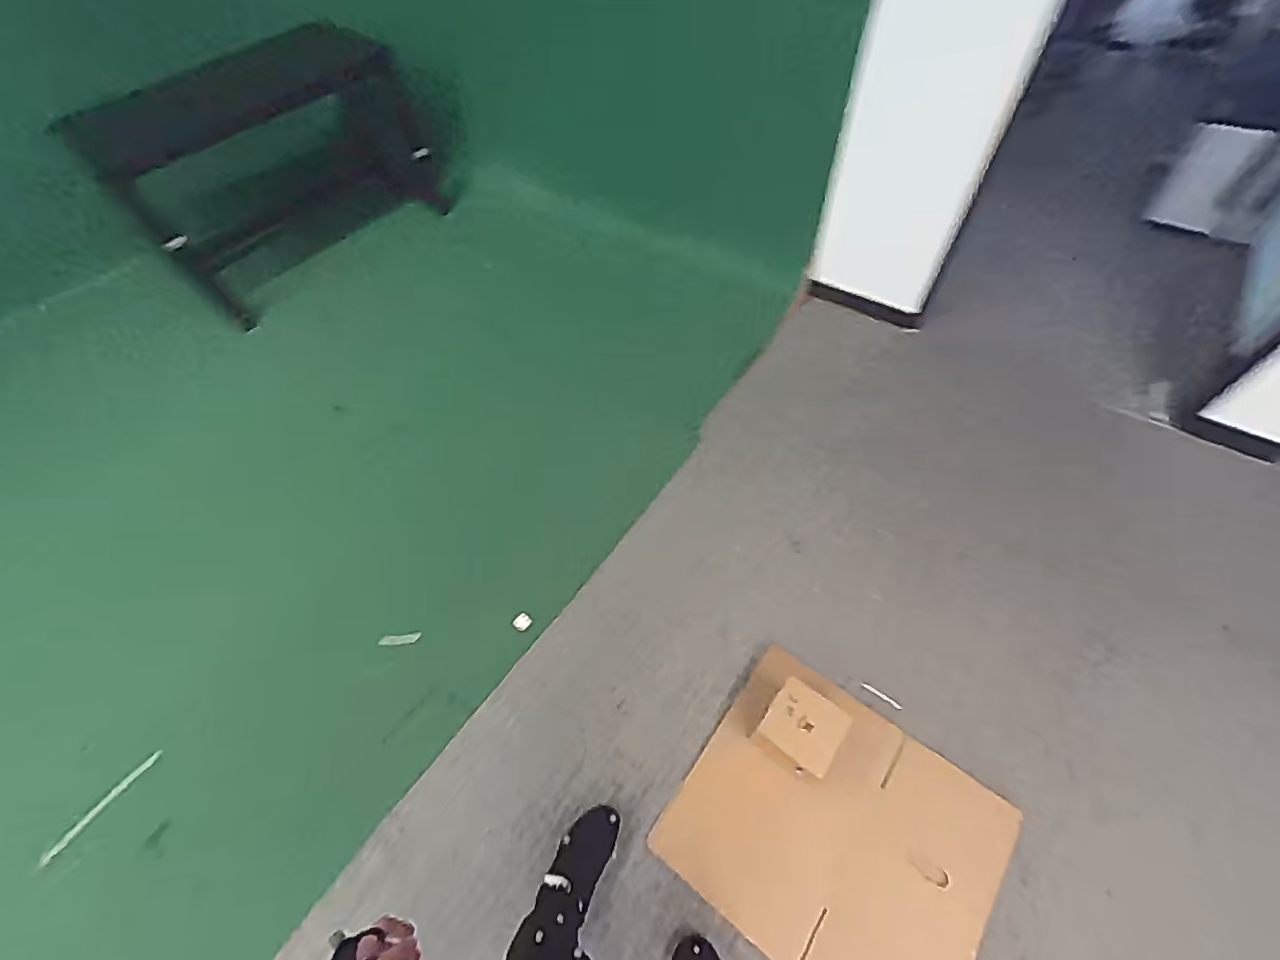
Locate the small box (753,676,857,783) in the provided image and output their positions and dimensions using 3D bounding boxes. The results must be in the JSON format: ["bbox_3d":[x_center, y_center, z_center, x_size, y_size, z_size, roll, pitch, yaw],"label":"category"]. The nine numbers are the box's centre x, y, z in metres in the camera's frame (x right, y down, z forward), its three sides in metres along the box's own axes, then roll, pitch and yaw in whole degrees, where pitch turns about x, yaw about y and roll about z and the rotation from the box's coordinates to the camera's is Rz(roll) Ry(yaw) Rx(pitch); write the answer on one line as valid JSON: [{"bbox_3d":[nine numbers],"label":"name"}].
[{"bbox_3d":[0.403,0.625,1.346,0.179,0.176,0.168,33,64,23],"label":"small box"}]
